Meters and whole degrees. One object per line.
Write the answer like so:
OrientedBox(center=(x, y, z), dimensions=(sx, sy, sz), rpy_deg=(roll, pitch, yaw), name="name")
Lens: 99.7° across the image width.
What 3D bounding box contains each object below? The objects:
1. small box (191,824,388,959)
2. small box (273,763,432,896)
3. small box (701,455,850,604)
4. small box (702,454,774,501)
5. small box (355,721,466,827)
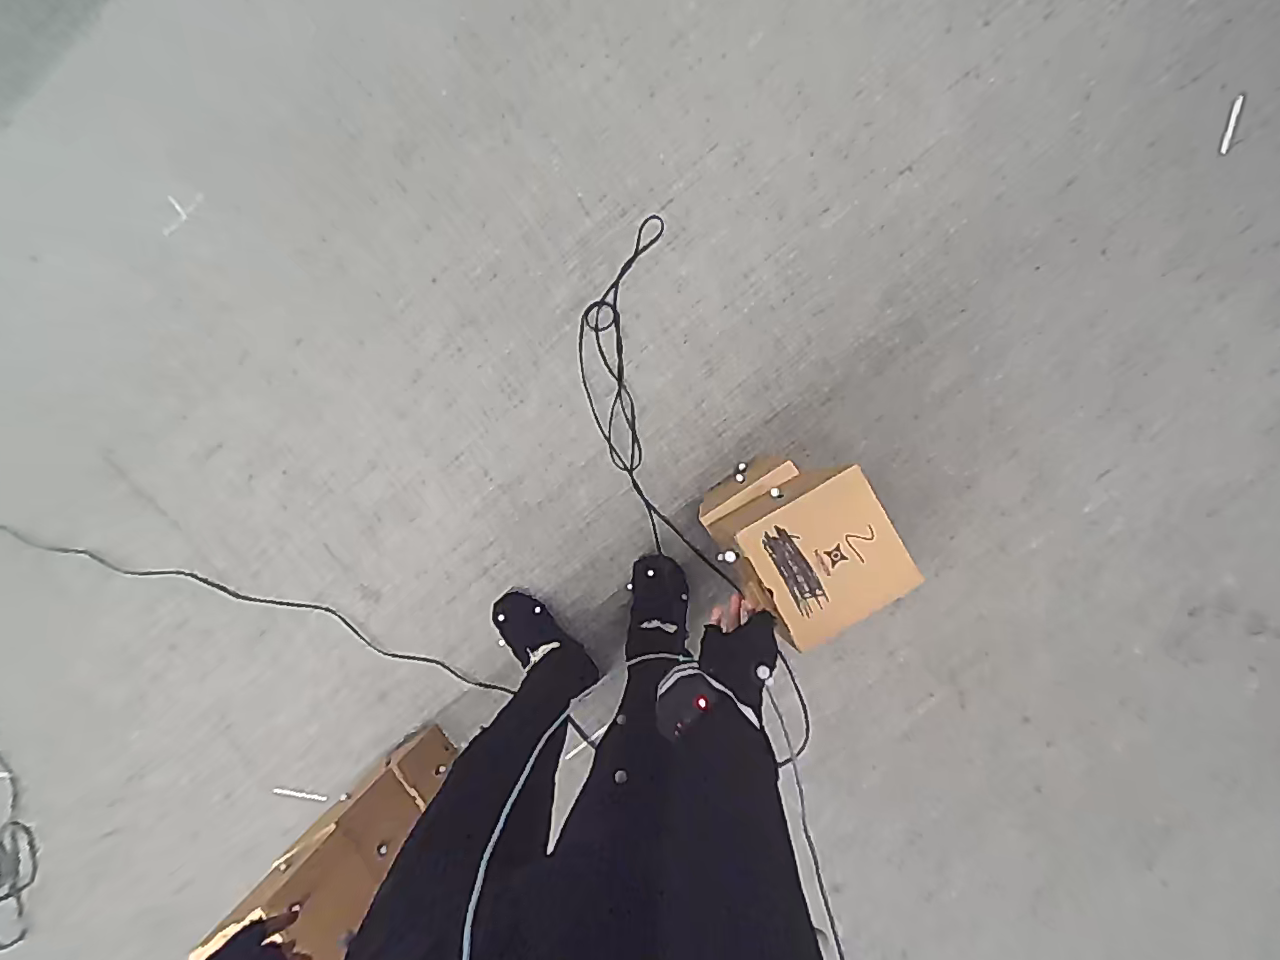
OrientedBox(center=(-0.559, 0.722, 0.887), dimensions=(0.168, 0.176, 0.179), rpy_deg=(-36, 89, 9), name="small box")
OrientedBox(center=(-0.544, 0.699, 1.048), dimensions=(0.168, 0.176, 0.179), rpy_deg=(-35, 89, 9), name="small box")
OrientedBox(center=(0.212, 0.072, 0.903), dimensions=(0.168, 0.176, 0.179), rpy_deg=(-34, 91, 8), name="small box")
OrientedBox(center=(0.235, 0.062, 1.048), dimensions=(0.168, 0.176, 0.179), rpy_deg=(-32, 91, 8), name="small box")
OrientedBox(center=(-0.517, 0.680, 1.209), dimensions=(0.179, 0.176, 0.168), rpy_deg=(-36, 90, 9), name="small box")
